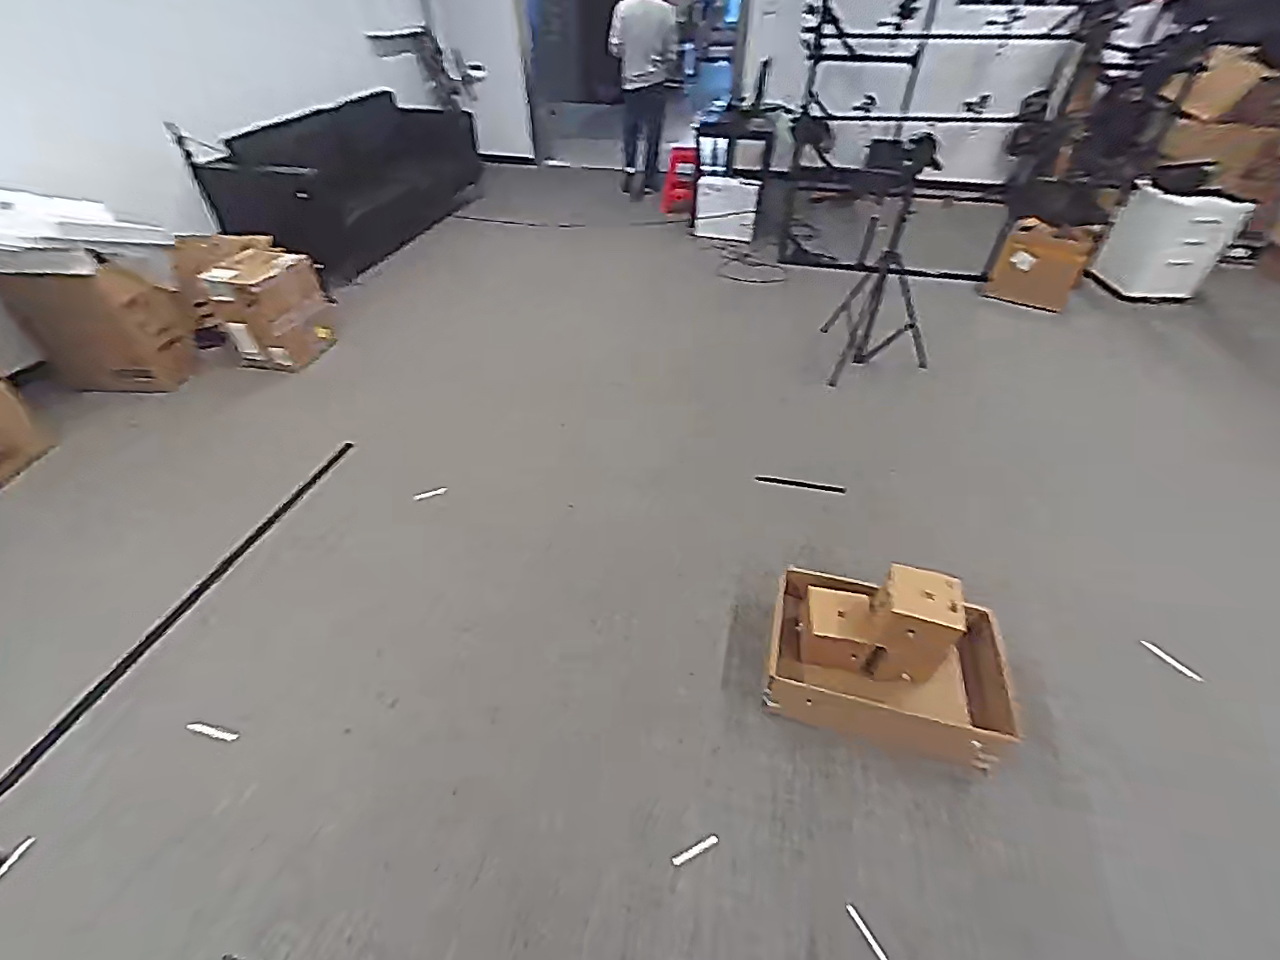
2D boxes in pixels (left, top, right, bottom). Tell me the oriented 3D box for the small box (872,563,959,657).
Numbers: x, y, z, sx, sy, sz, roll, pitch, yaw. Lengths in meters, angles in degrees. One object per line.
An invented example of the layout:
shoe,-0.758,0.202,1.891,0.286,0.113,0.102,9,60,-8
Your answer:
small box,0.738,0.355,1.466,0.179,0.176,0.168,12,45,15
